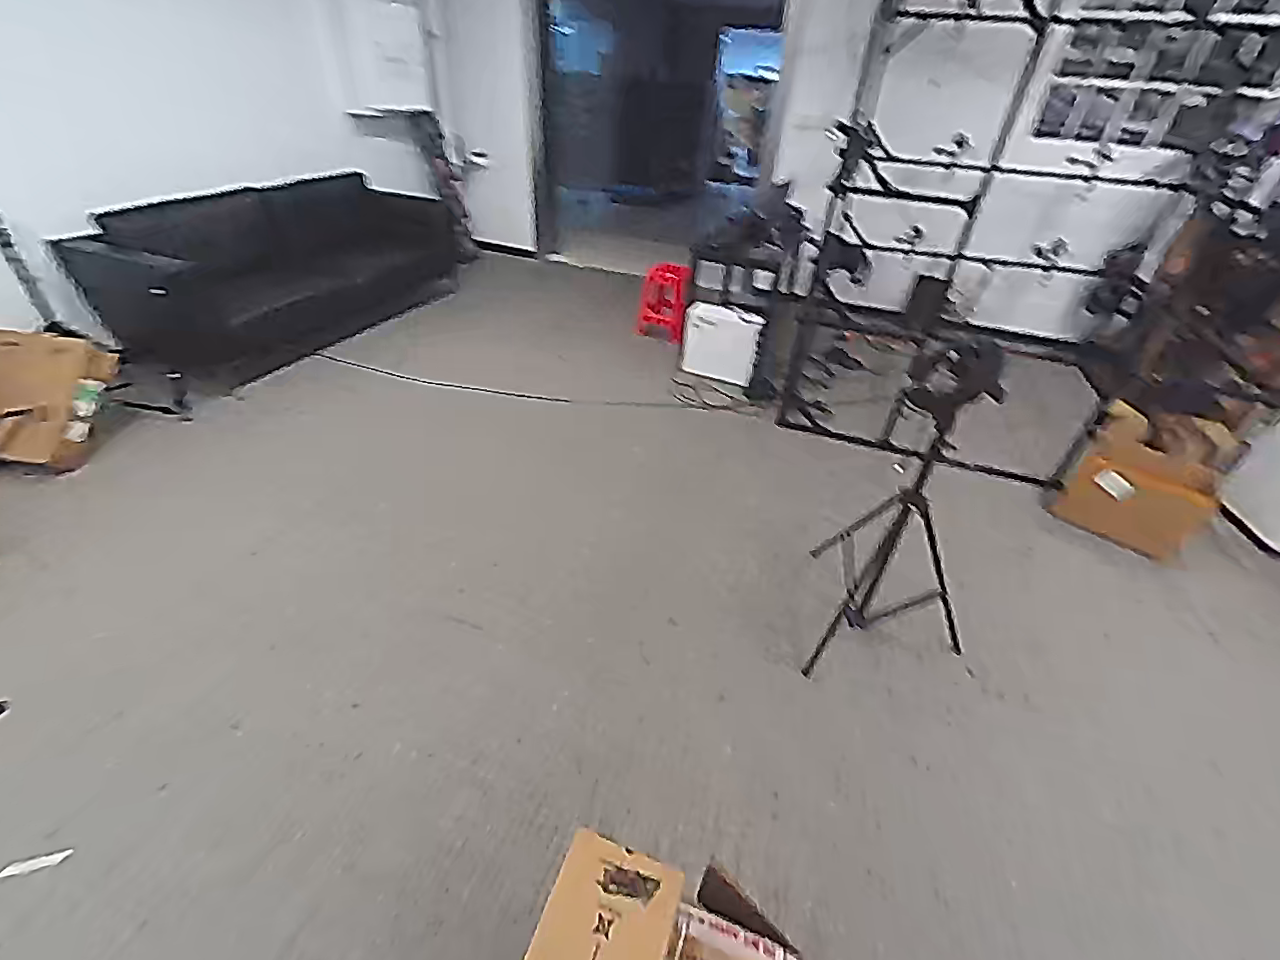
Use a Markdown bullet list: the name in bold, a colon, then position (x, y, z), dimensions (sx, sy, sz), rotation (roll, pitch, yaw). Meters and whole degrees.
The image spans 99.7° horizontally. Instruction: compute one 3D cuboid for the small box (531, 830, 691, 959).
- **small box**: position (-0.037, 0.642, 0.753), dimensions (0.168, 0.176, 0.179), rotation (13, 40, 16)
